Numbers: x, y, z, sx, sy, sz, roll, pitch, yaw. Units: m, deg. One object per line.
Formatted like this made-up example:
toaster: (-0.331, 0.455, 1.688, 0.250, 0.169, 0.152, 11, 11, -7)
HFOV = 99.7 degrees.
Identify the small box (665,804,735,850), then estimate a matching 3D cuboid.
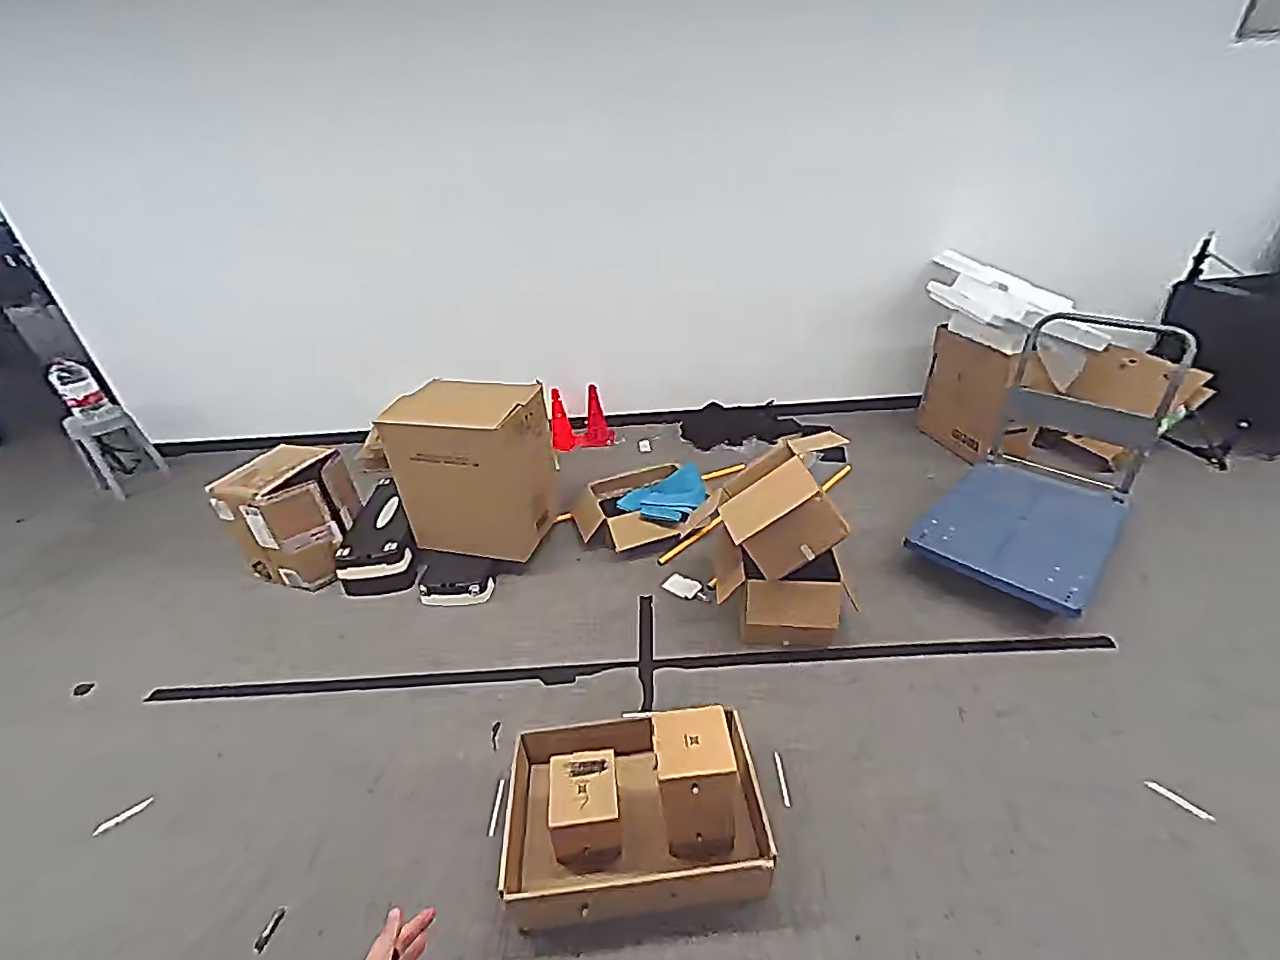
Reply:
small box: (0.144, 0.803, 1.361, 0.168, 0.176, 0.179, -5, 31, -1)

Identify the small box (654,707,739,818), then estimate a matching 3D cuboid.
small box: (0.130, 0.666, 1.275, 0.179, 0.176, 0.168, -6, 31, -1)
